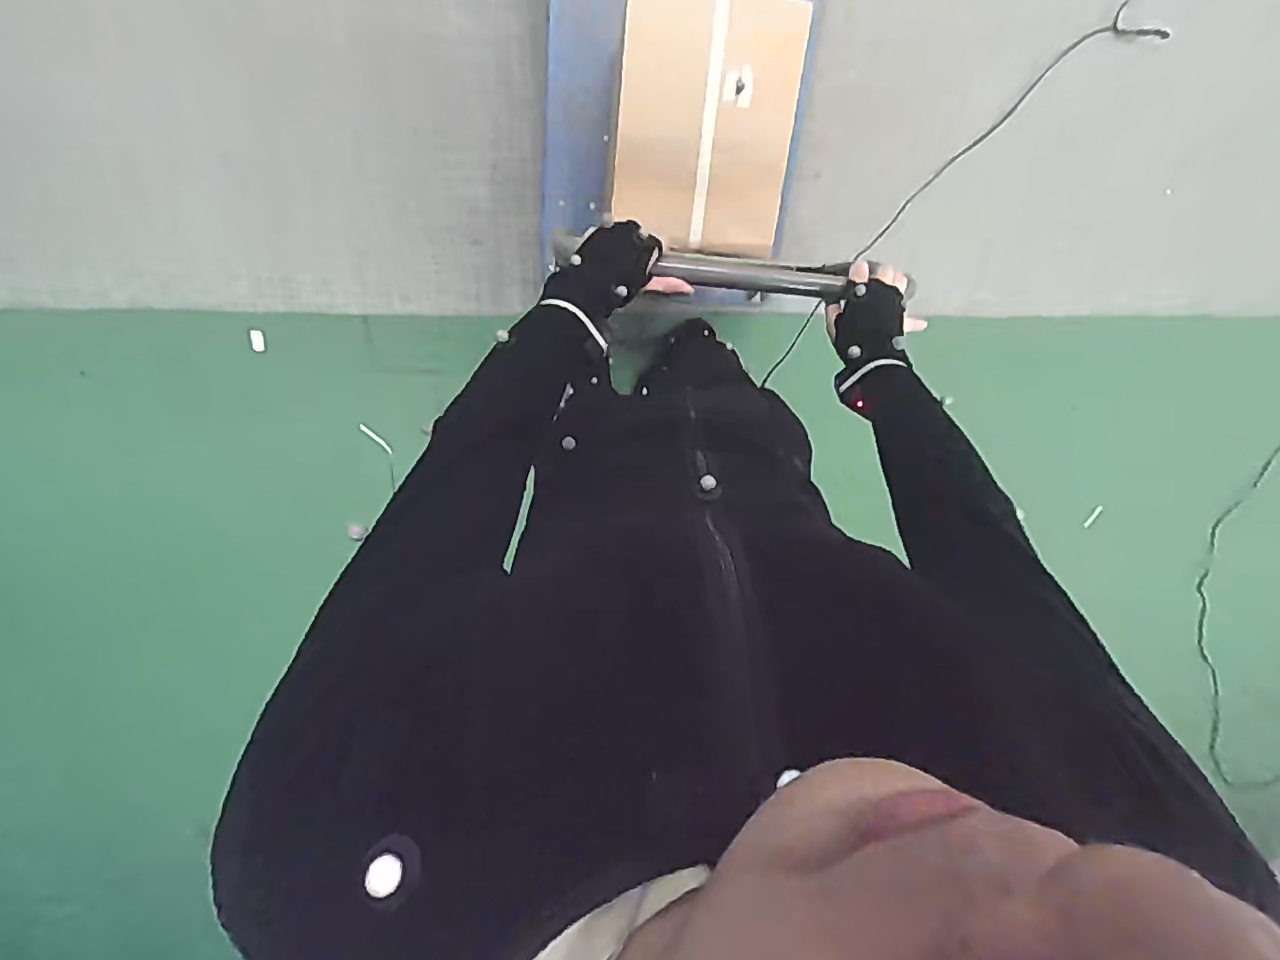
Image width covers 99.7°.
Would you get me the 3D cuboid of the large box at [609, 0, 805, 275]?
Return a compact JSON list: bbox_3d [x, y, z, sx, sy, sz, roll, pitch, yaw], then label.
[{"bbox_3d":[0.103,-0.646,1.098,0.320,0.320,0.408,3,107,-8],"label":"large box"}]
